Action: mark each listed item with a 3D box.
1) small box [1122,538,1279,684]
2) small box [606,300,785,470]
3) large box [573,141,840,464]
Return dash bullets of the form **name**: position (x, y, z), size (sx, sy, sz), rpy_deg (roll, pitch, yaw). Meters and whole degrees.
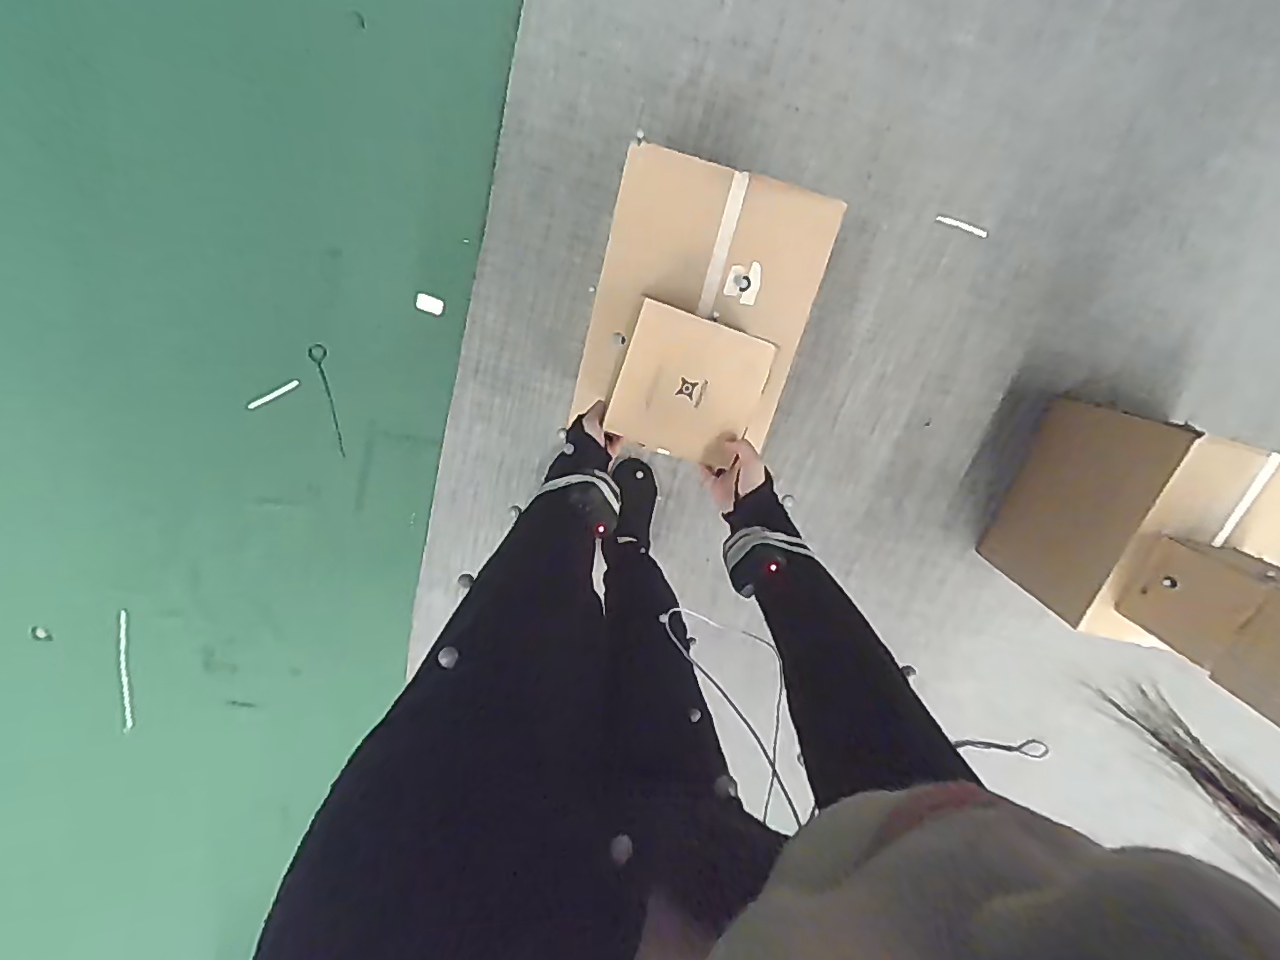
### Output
- **small box**: position (1.001, 0.216, 0.920), size (0.179, 0.176, 0.168), rpy_deg (11, 110, -6)
- **small box**: position (0.062, -0.136, 0.727), size (0.179, 0.176, 0.168), rpy_deg (18, 108, -9)
- **large box**: position (0.082, -0.286, 0.935), size (0.320, 0.320, 0.408), rpy_deg (13, 109, -8)
